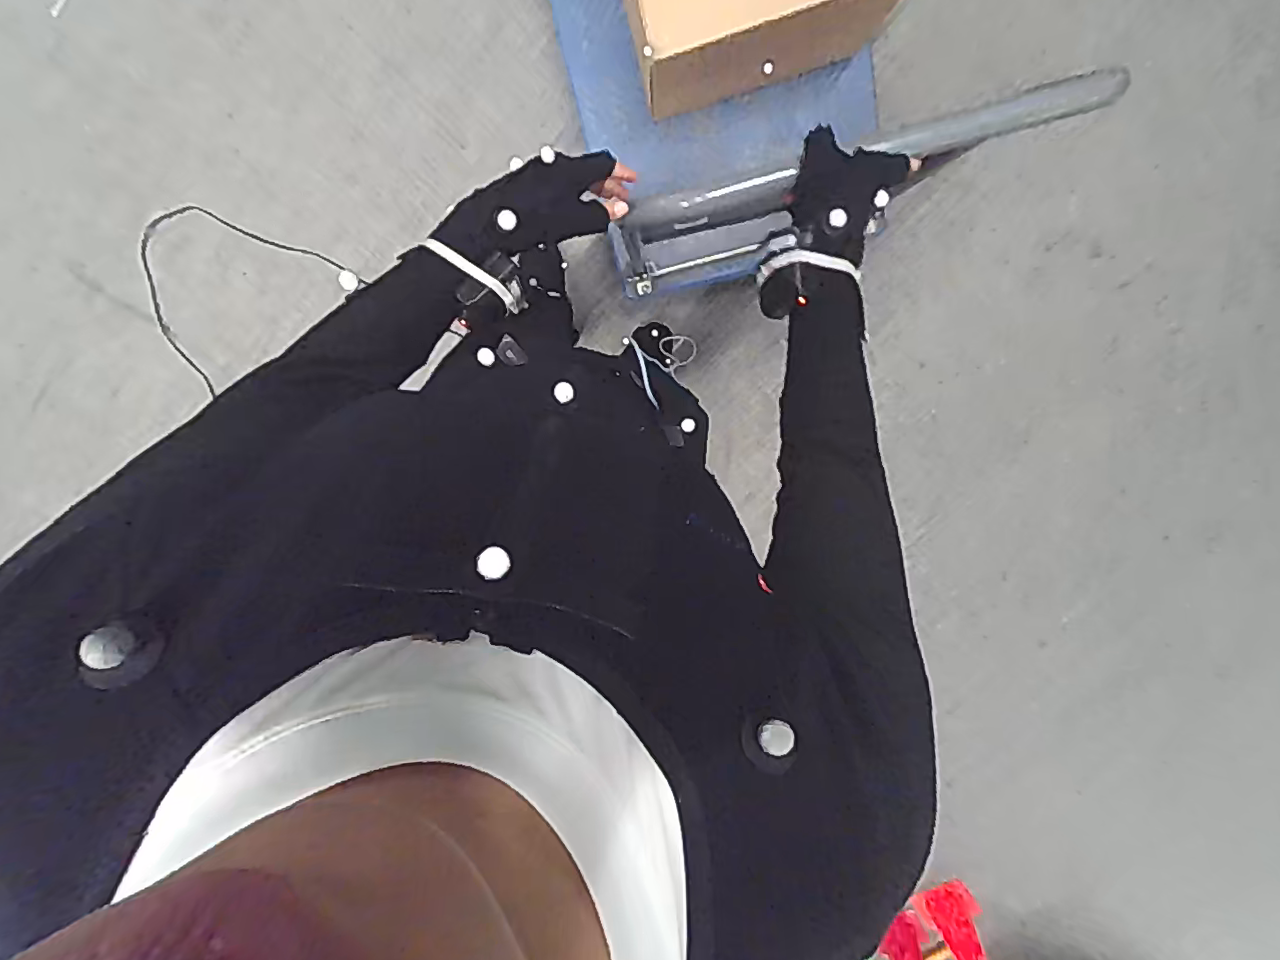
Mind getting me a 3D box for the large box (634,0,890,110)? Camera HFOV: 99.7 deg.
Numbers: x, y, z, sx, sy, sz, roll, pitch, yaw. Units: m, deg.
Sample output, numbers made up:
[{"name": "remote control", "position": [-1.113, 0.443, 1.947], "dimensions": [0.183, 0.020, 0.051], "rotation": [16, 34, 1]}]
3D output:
[{"name": "large box", "position": [0.183, -0.873, 0.874], "dimensions": [0.408, 0.320, 0.320], "rotation": [-14, 108, 8]}]
